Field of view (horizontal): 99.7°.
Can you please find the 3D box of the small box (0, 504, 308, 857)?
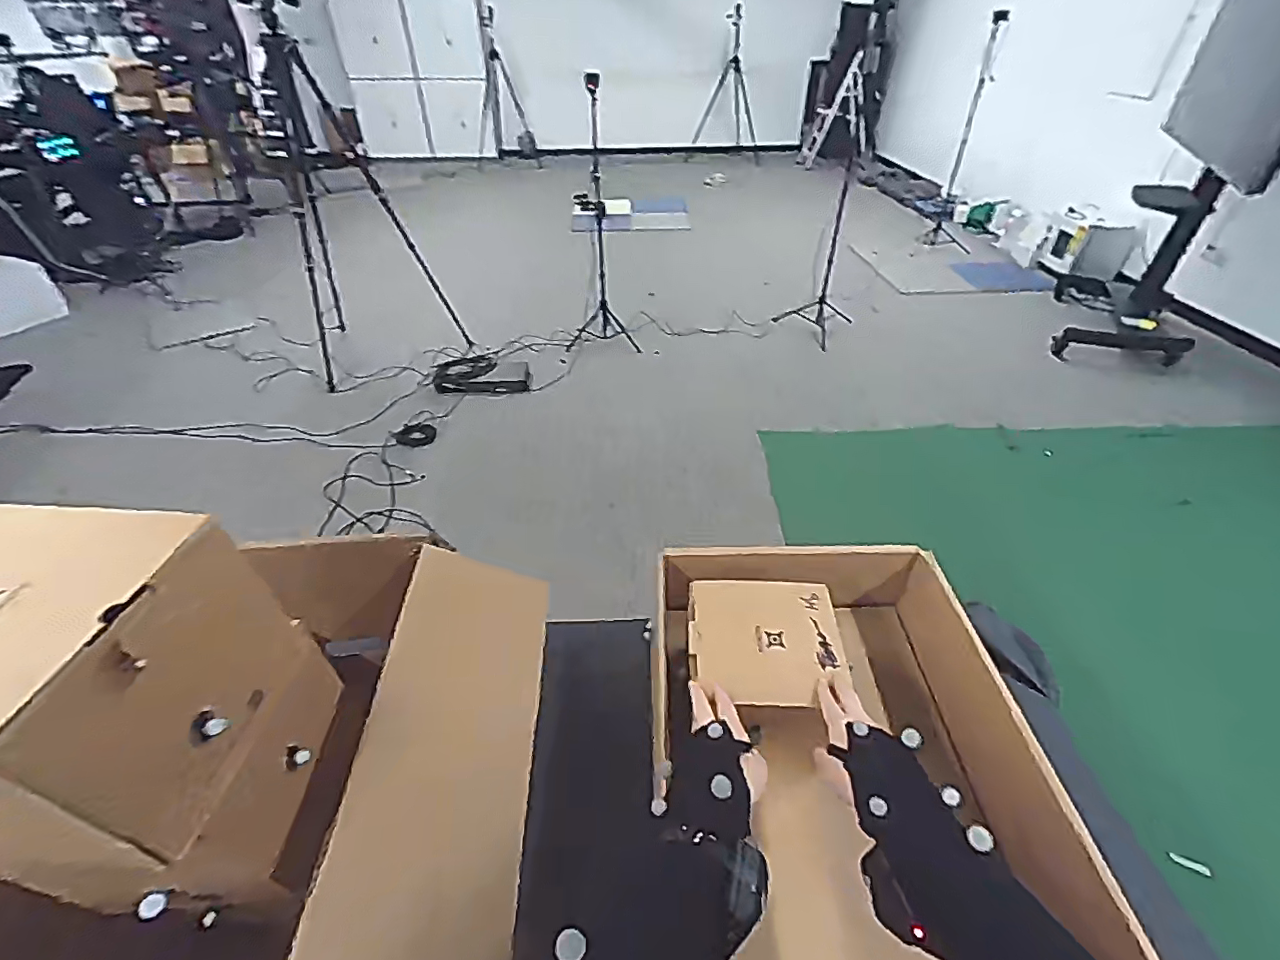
[{"bbox_3d":[-0.380,0.135,0.371,0.179,0.176,0.168,3,41,3],"label":"small box"}]
